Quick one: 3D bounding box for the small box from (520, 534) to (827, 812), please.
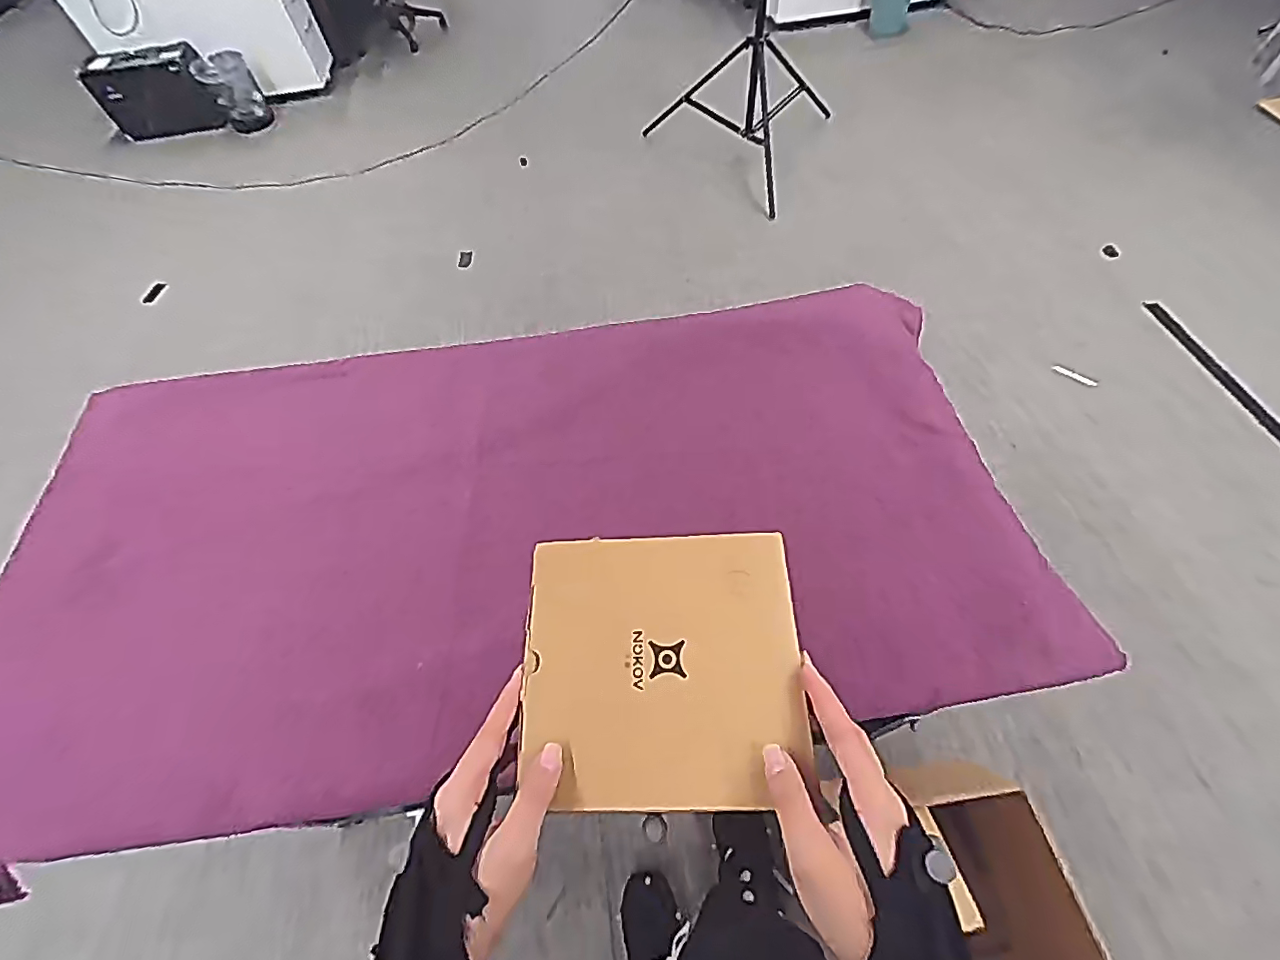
[{"bbox_3d":[0.023,0.150,0.410,0.179,0.176,0.168,-4,61,4],"label":"small box"}]
